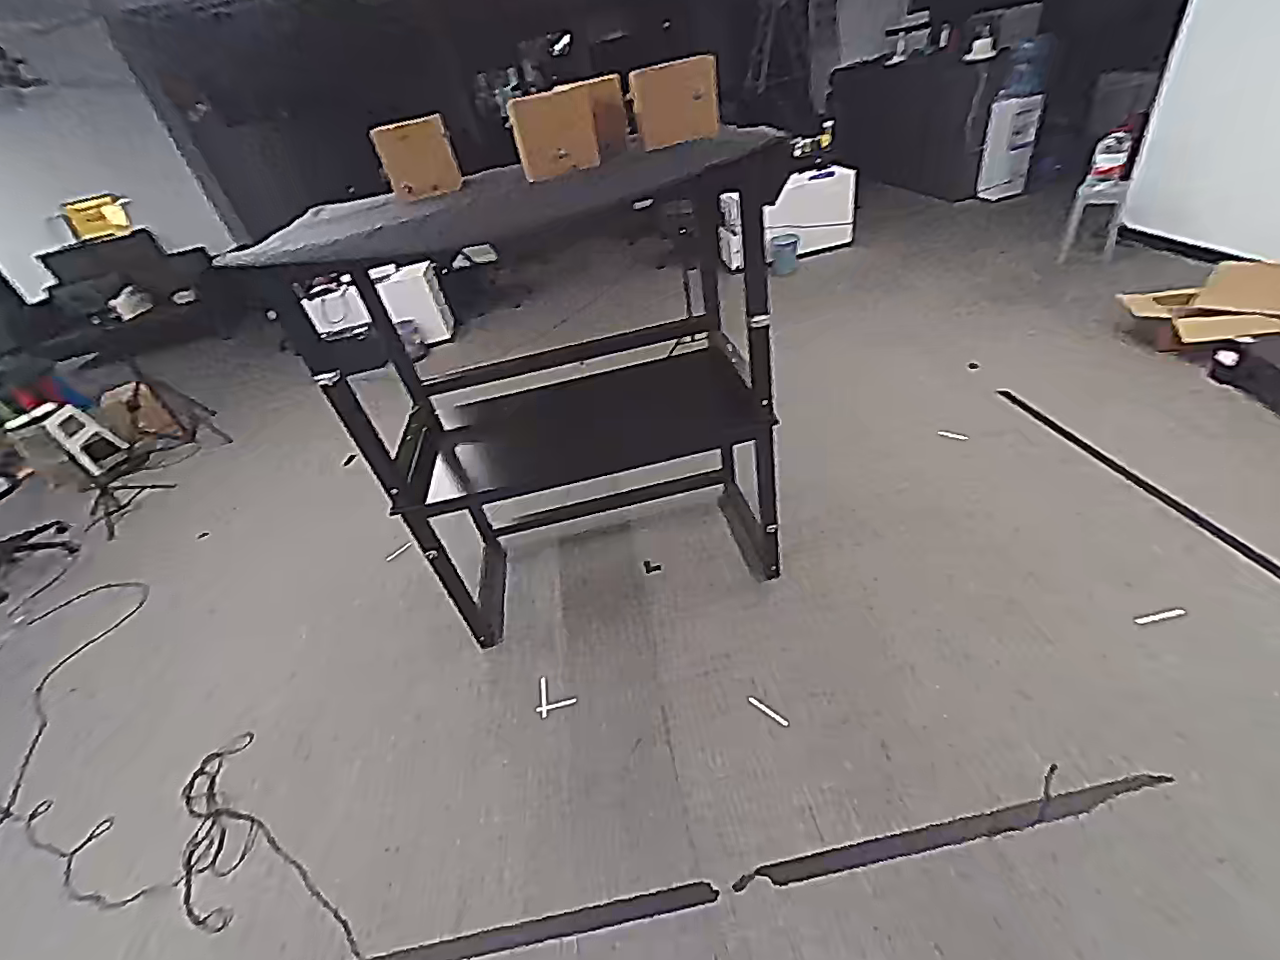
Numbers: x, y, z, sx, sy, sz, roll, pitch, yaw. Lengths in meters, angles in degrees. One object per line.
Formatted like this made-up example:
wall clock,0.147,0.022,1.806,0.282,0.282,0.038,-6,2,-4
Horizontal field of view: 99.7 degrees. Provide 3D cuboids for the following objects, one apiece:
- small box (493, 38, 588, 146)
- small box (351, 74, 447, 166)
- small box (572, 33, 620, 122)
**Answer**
small box,-0.224,-0.867,1.216,0.168,0.176,0.179,-17,38,-5
small box,-0.612,-0.926,1.396,0.168,0.176,0.179,-16,38,-4
small box,-0.154,-1.039,1.412,0.168,0.176,0.179,-13,38,0
